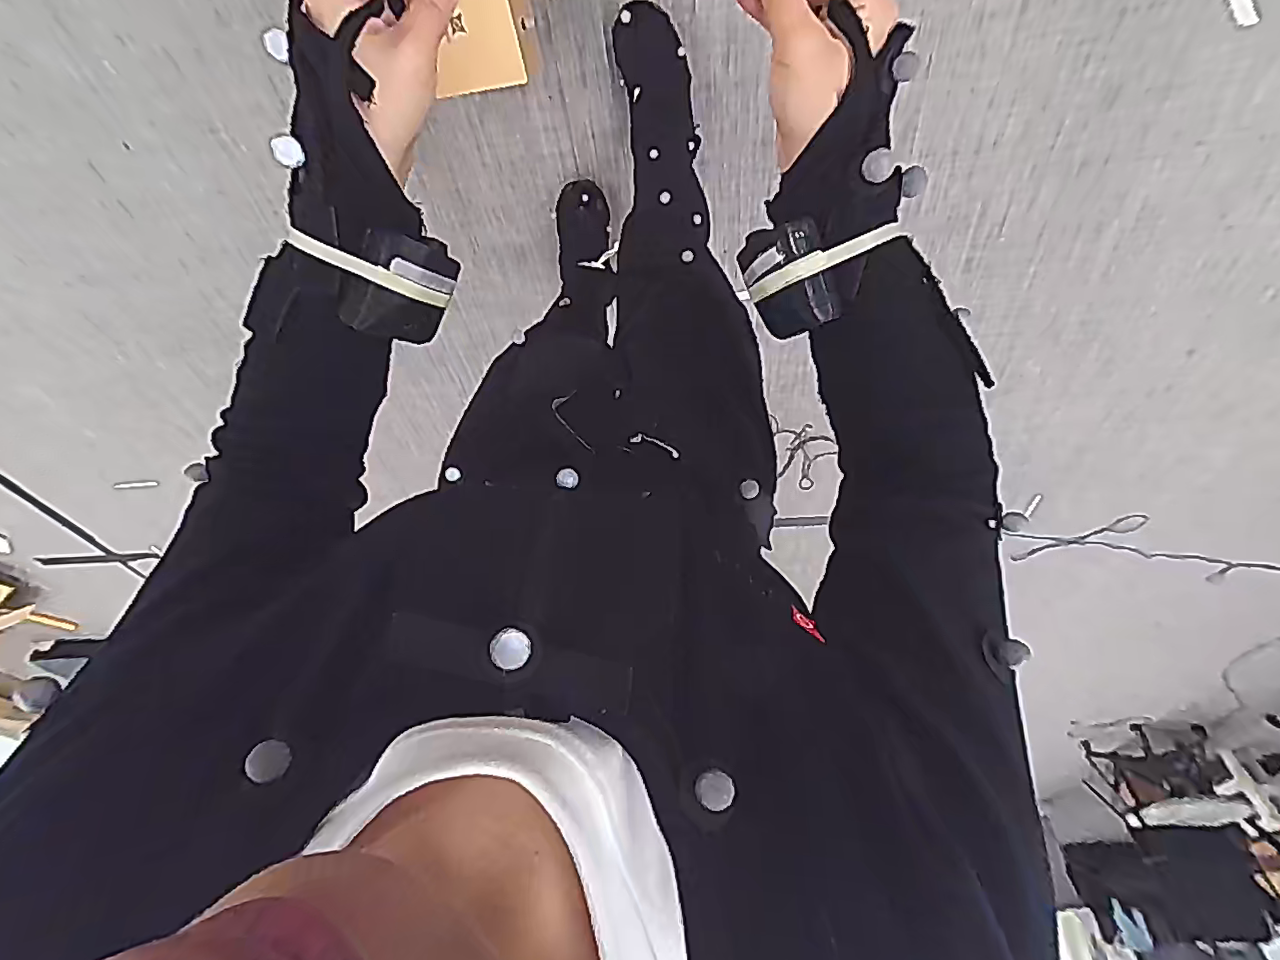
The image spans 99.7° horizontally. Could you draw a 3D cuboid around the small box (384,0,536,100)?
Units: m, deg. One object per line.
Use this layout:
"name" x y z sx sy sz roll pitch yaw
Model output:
"small box" -0.265 -0.709 0.823 0.179 0.176 0.168 -4 138 7
